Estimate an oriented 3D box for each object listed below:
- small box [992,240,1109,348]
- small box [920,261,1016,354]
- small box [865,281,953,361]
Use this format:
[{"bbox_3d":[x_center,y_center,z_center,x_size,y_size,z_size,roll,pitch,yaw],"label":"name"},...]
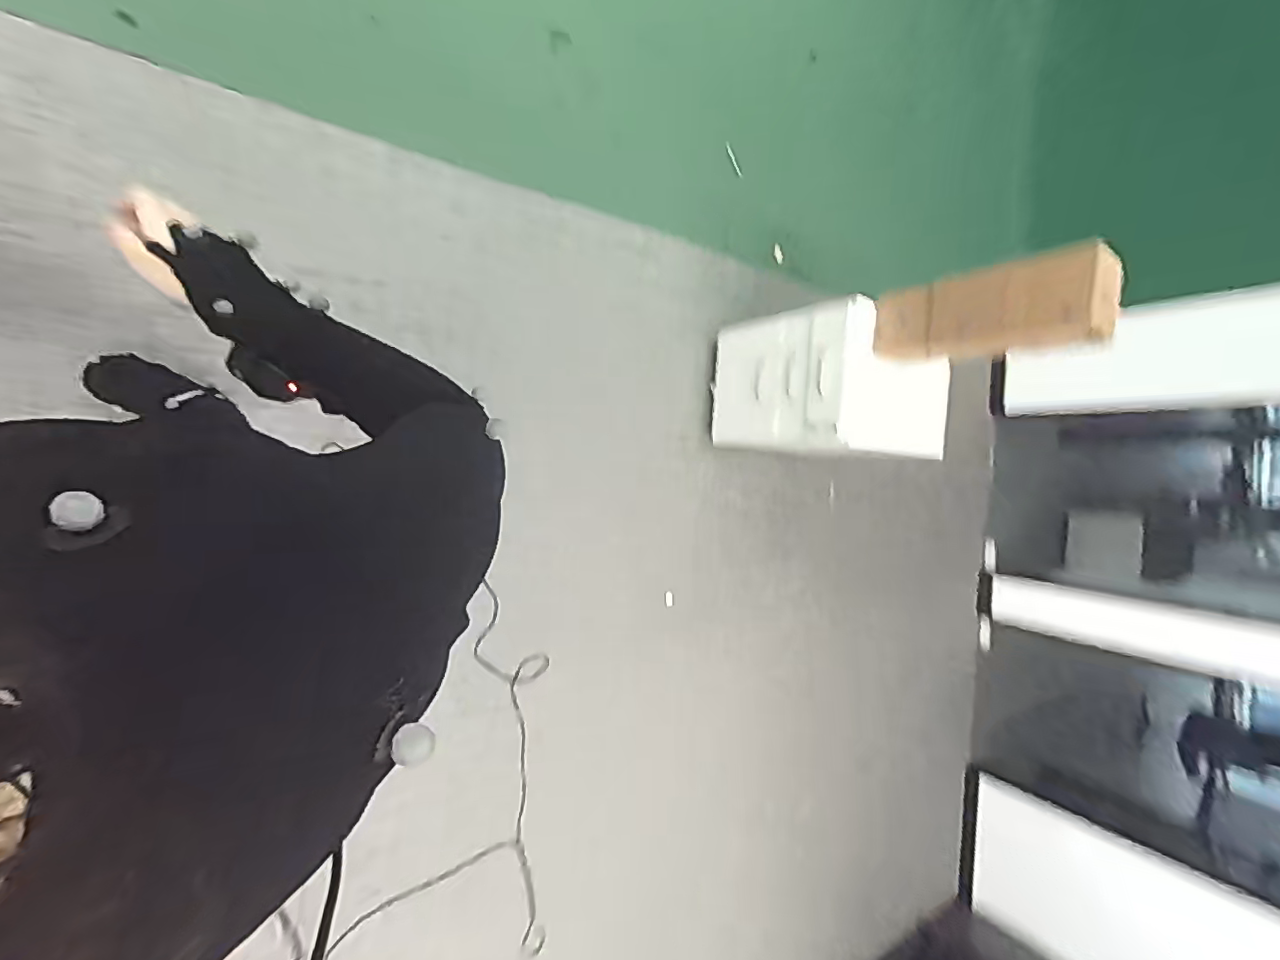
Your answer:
[{"bbox_3d":[0.925,-0.409,1.223,0.168,0.176,0.179,4,92,-36],"label":"small box"},{"bbox_3d":[0.826,-0.419,1.353,0.168,0.176,0.179,2,92,-36],"label":"small box"},{"bbox_3d":[0.747,-0.430,1.494,0.179,0.176,0.168,3,93,-35],"label":"small box"}]
